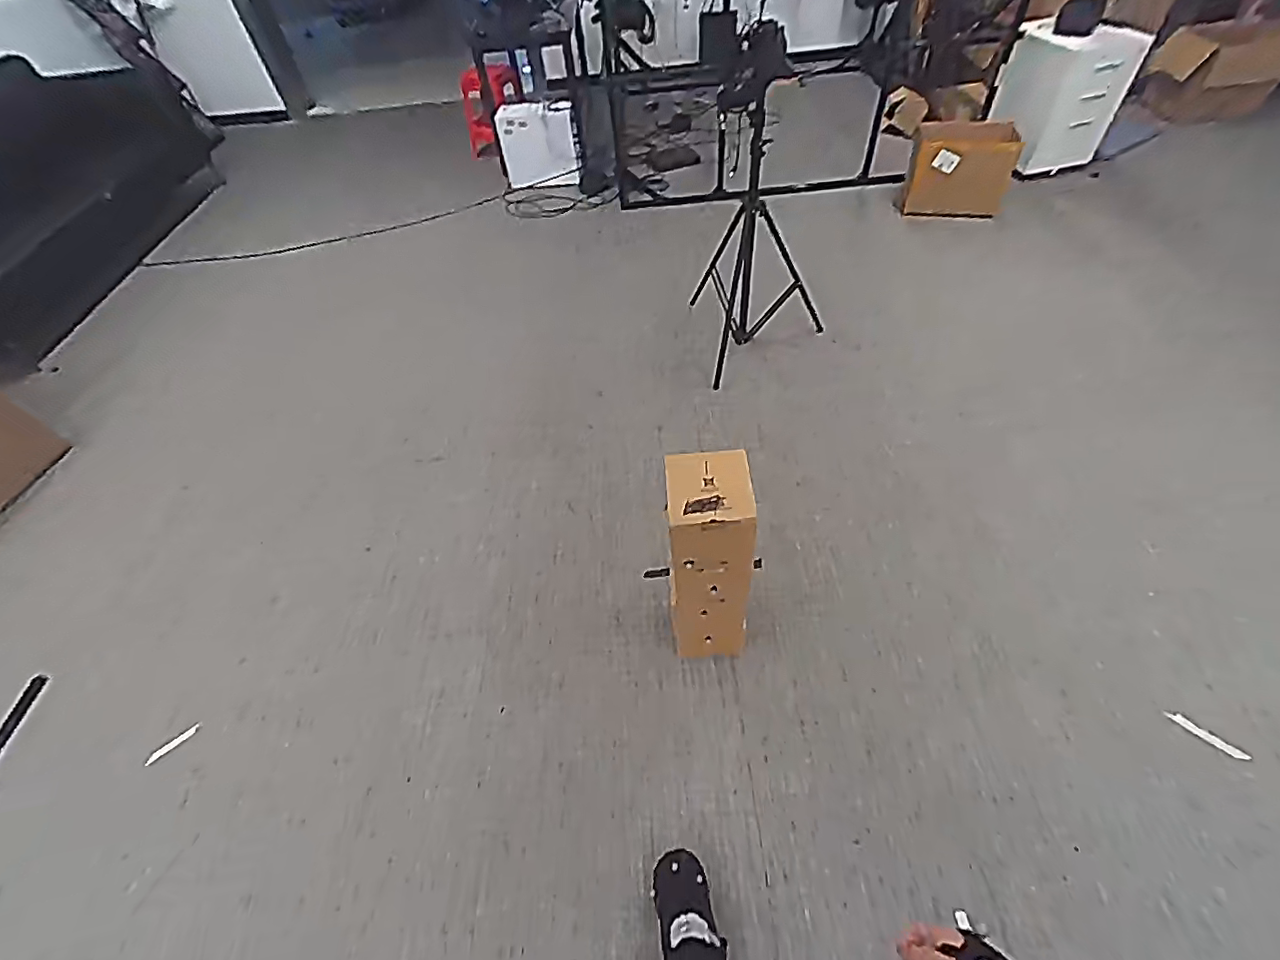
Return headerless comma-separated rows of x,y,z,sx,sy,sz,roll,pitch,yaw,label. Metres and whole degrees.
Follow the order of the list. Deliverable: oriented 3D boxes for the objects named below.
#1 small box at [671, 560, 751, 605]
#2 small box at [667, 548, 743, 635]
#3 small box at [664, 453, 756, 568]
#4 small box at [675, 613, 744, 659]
0.155,0.174,1.224,0.168,0.176,0.179,-3,52,4,small box
0.160,0.279,1.350,0.179,0.176,0.168,-3,52,4,small box
0.138,0.069,1.098,0.168,0.176,0.179,-4,50,3,small box
0.181,0.379,1.479,0.179,0.176,0.168,-5,51,2,small box
